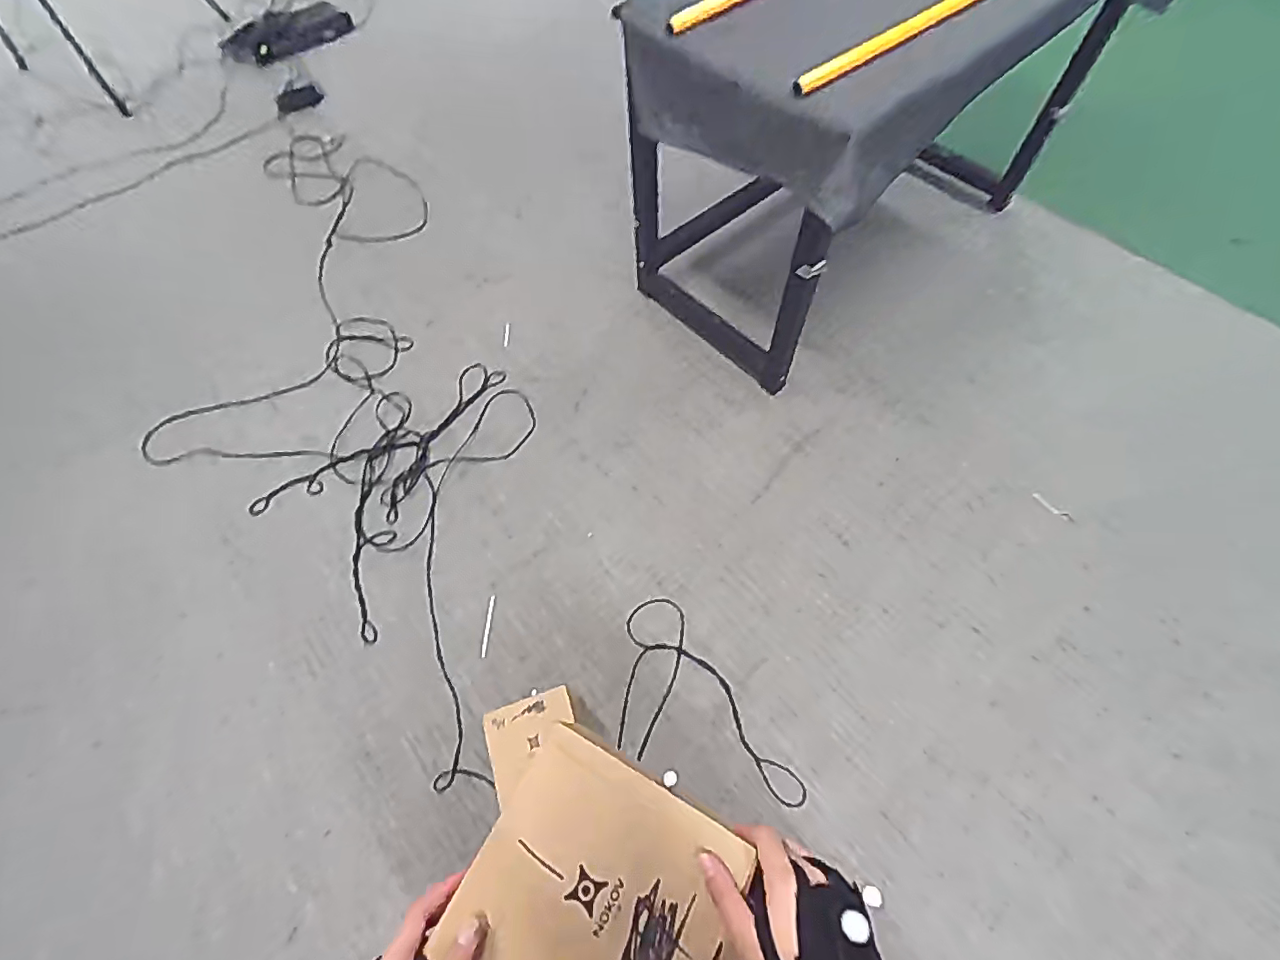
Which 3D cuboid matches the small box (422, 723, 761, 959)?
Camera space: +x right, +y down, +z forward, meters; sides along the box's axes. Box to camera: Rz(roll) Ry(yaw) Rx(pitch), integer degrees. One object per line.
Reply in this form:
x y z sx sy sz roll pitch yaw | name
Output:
-0.029 0.319 0.436 0.179 0.176 0.168 27 67 14 | small box

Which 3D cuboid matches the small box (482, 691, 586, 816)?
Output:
-0.188 0.530 1.046 0.168 0.176 0.179 -18 62 -7 | small box
